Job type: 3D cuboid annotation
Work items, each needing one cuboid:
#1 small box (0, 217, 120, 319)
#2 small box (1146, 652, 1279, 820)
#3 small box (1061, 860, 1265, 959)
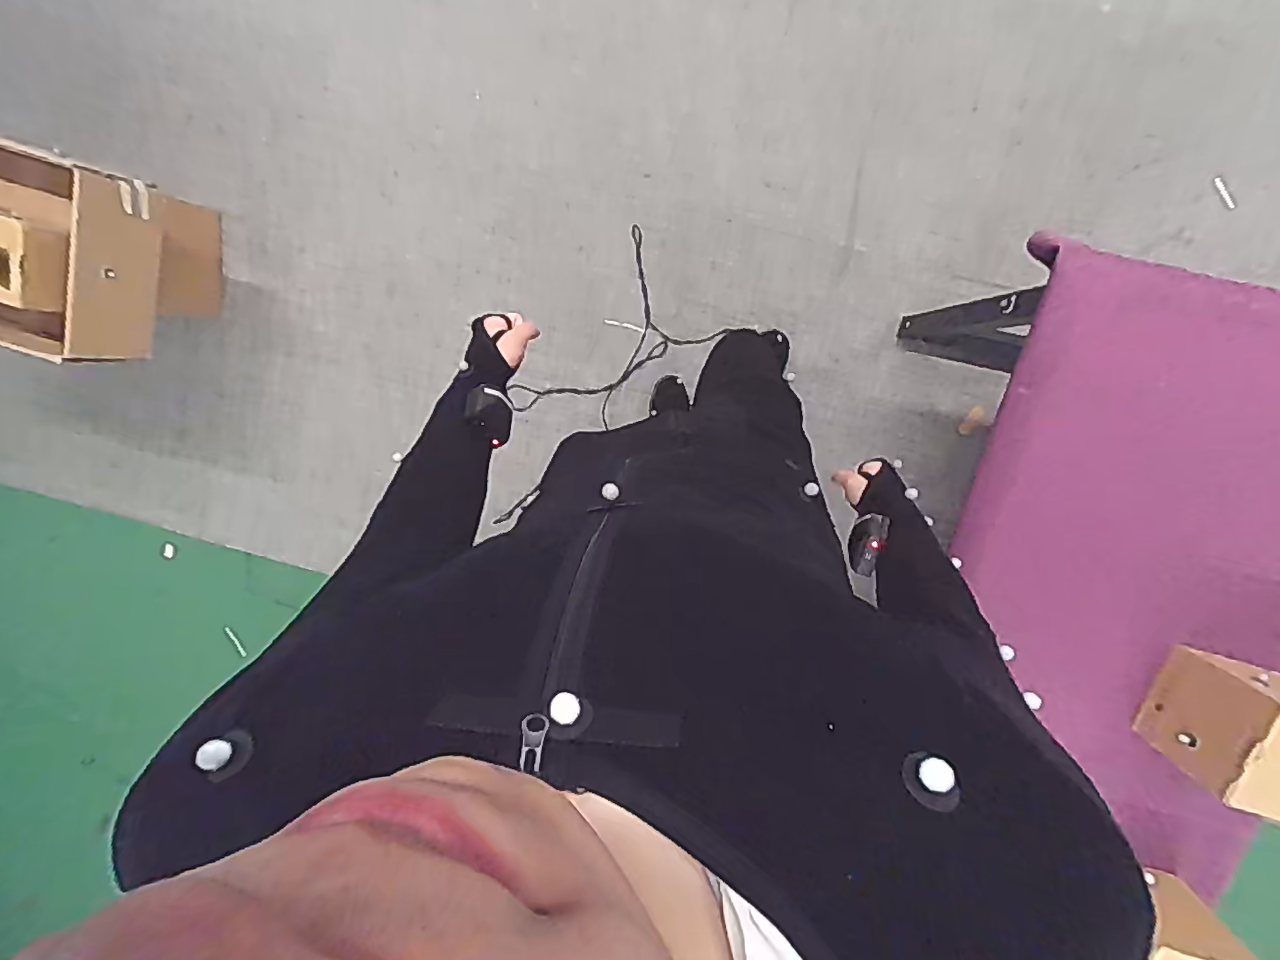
[{"bbox_3d":[-1.264,-0.447,1.144,0.179,0.176,0.168,18,102,3],"label":"small box"},{"bbox_3d":[0.925,0.380,0.799,0.179,0.176,0.168,16,103,2],"label":"small box"},{"bbox_3d":[0.848,0.771,0.884,0.179,0.176,0.168,14,102,3],"label":"small box"}]
